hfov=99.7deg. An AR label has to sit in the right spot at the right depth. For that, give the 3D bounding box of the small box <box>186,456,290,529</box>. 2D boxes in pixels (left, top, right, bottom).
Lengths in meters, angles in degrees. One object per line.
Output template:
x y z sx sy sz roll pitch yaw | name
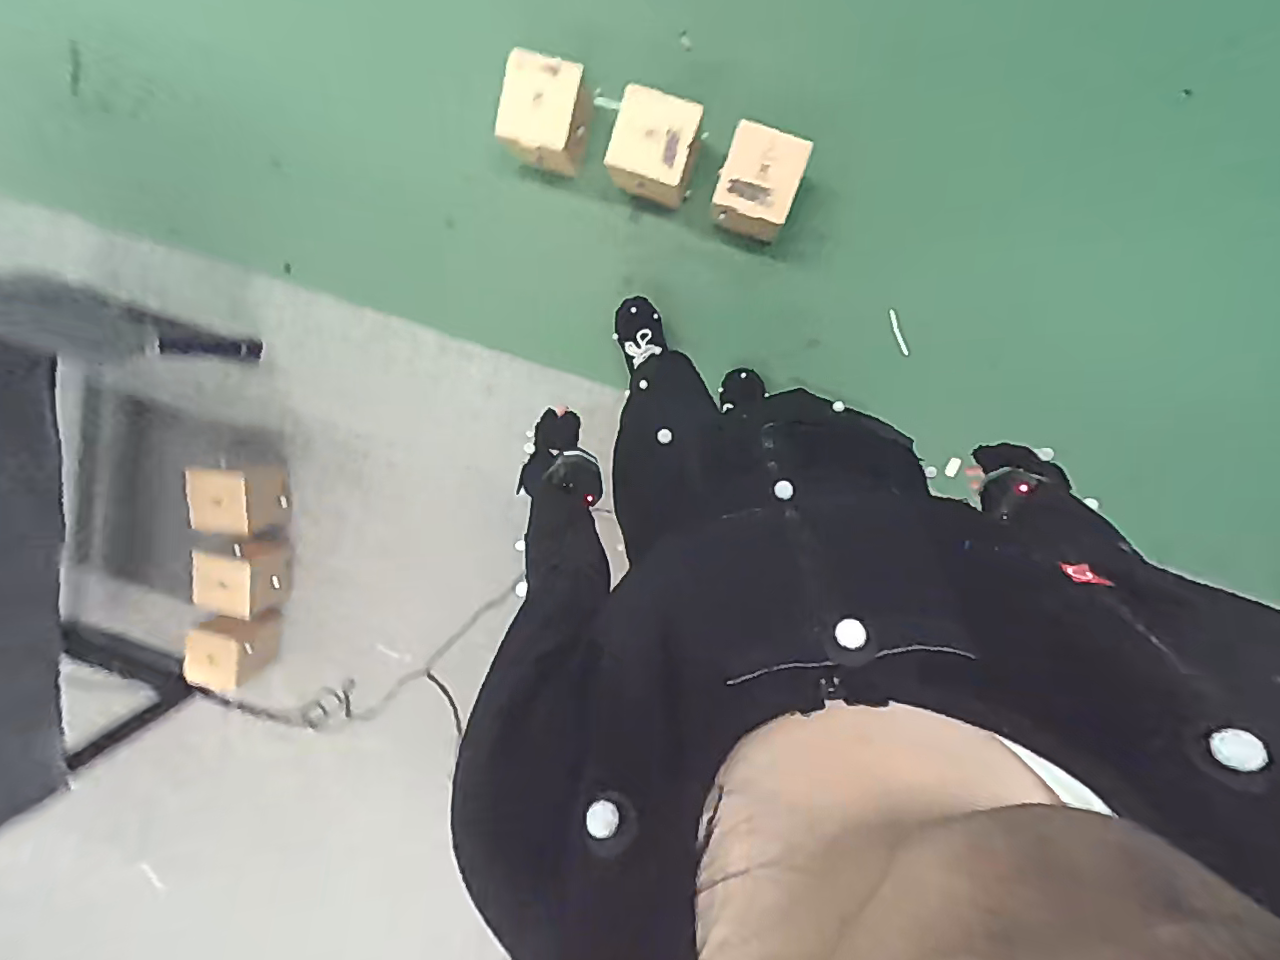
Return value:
-1.140 0.029 1.543 0.179 0.176 0.168 7 102 6 | small box

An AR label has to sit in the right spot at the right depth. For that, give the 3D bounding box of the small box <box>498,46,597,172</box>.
-0.209 -0.851 1.260 0.168 0.176 0.179 18 104 3 | small box
